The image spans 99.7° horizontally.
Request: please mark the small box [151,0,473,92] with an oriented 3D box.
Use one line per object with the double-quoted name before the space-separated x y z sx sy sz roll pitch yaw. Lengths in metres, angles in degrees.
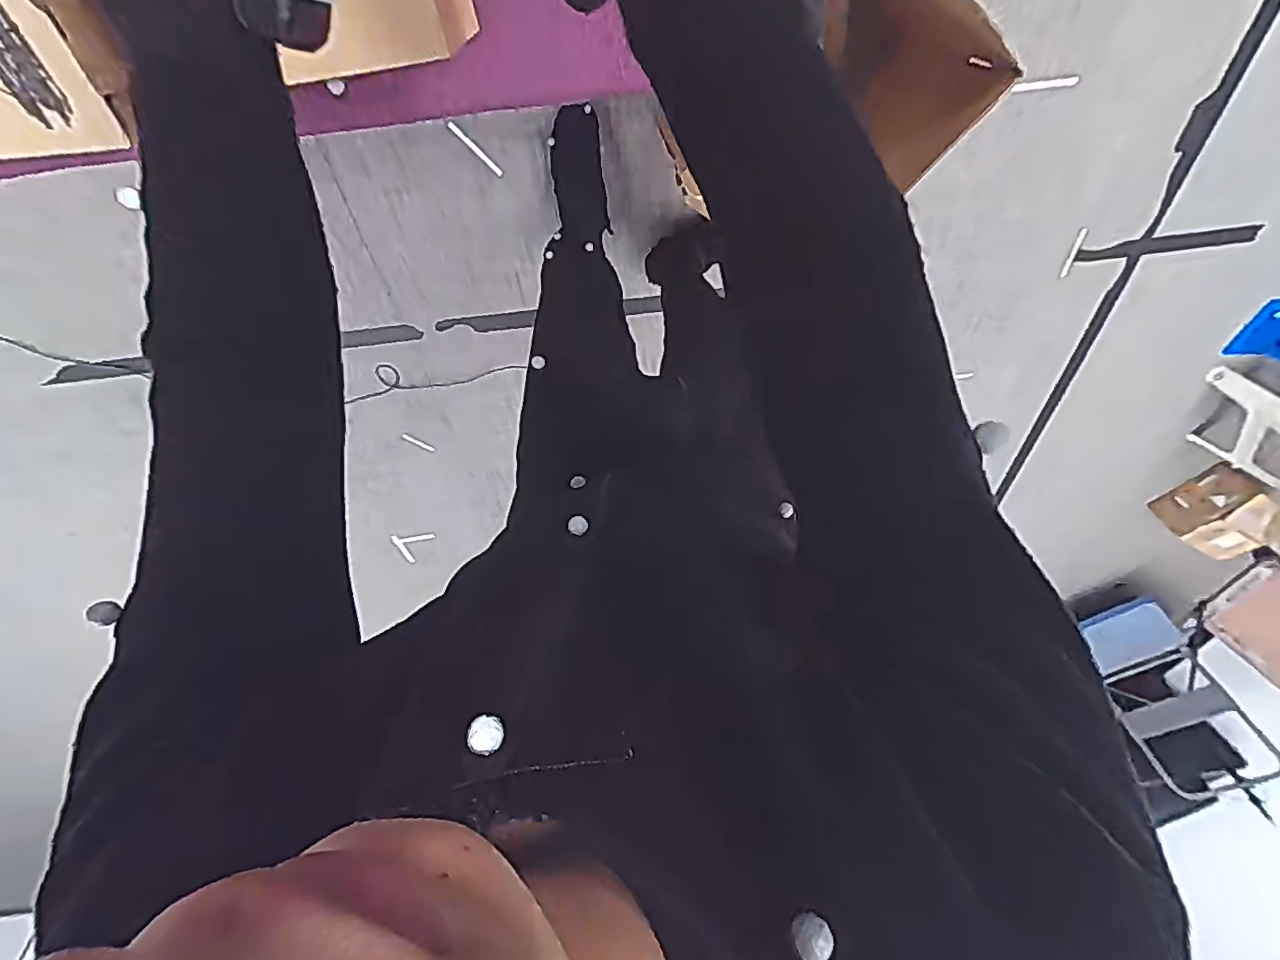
"small box" -0.232 -0.390 0.368 0.179 0.176 0.168 -9 136 1
